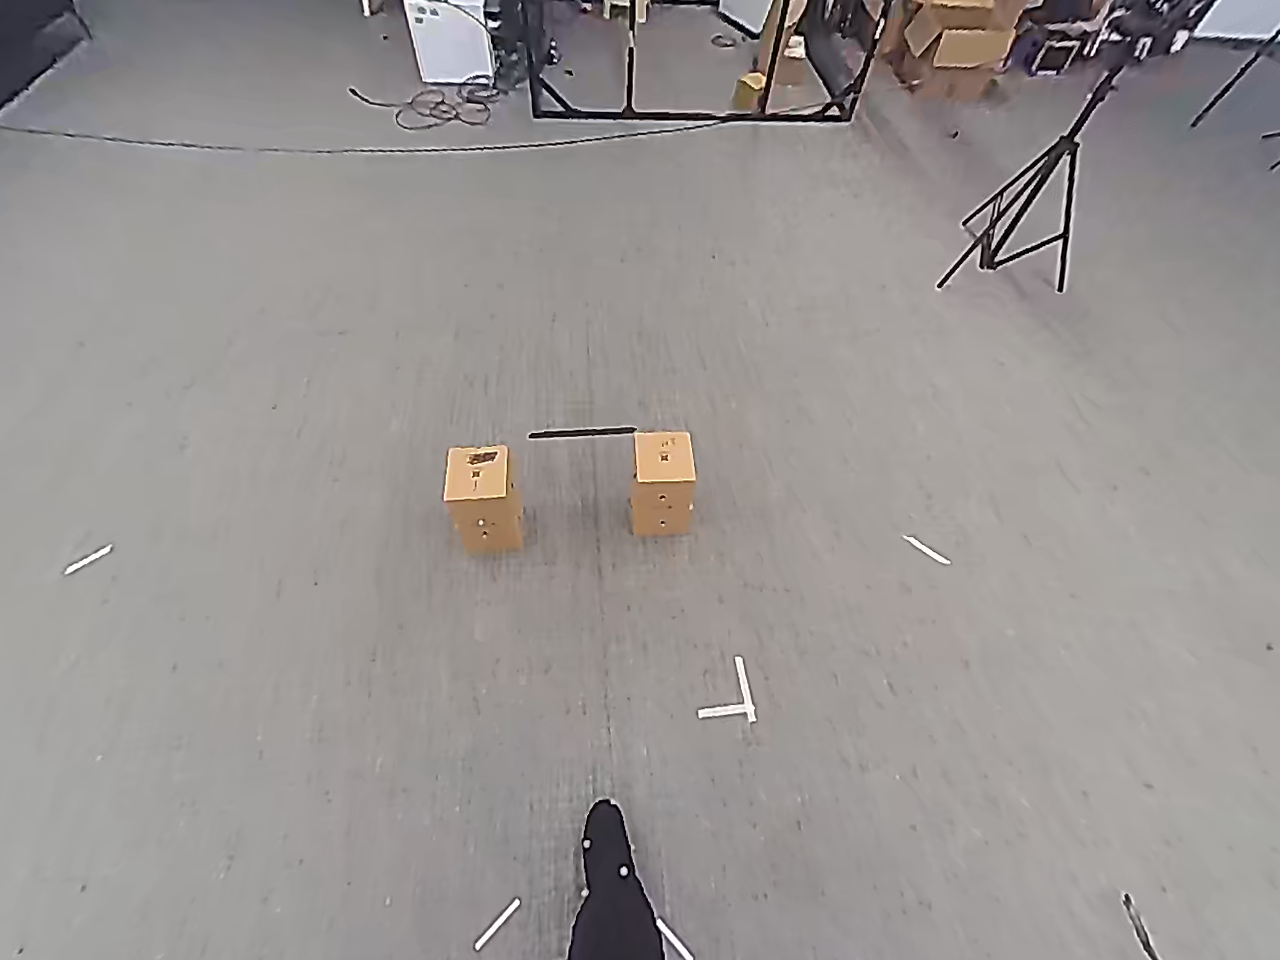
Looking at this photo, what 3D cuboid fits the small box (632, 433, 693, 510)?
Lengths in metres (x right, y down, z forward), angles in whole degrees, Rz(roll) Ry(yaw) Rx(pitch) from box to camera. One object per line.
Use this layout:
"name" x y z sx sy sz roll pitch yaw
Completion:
"small box" 0.062 -0.020 1.605 0.168 0.176 0.179 -1 57 -4

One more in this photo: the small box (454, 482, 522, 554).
"small box" -0.464 0.119 1.682 0.179 0.176 0.168 -4 57 -5

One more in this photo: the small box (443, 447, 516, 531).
"small box" -0.451 0.027 1.547 0.168 0.176 0.179 -4 58 -5
